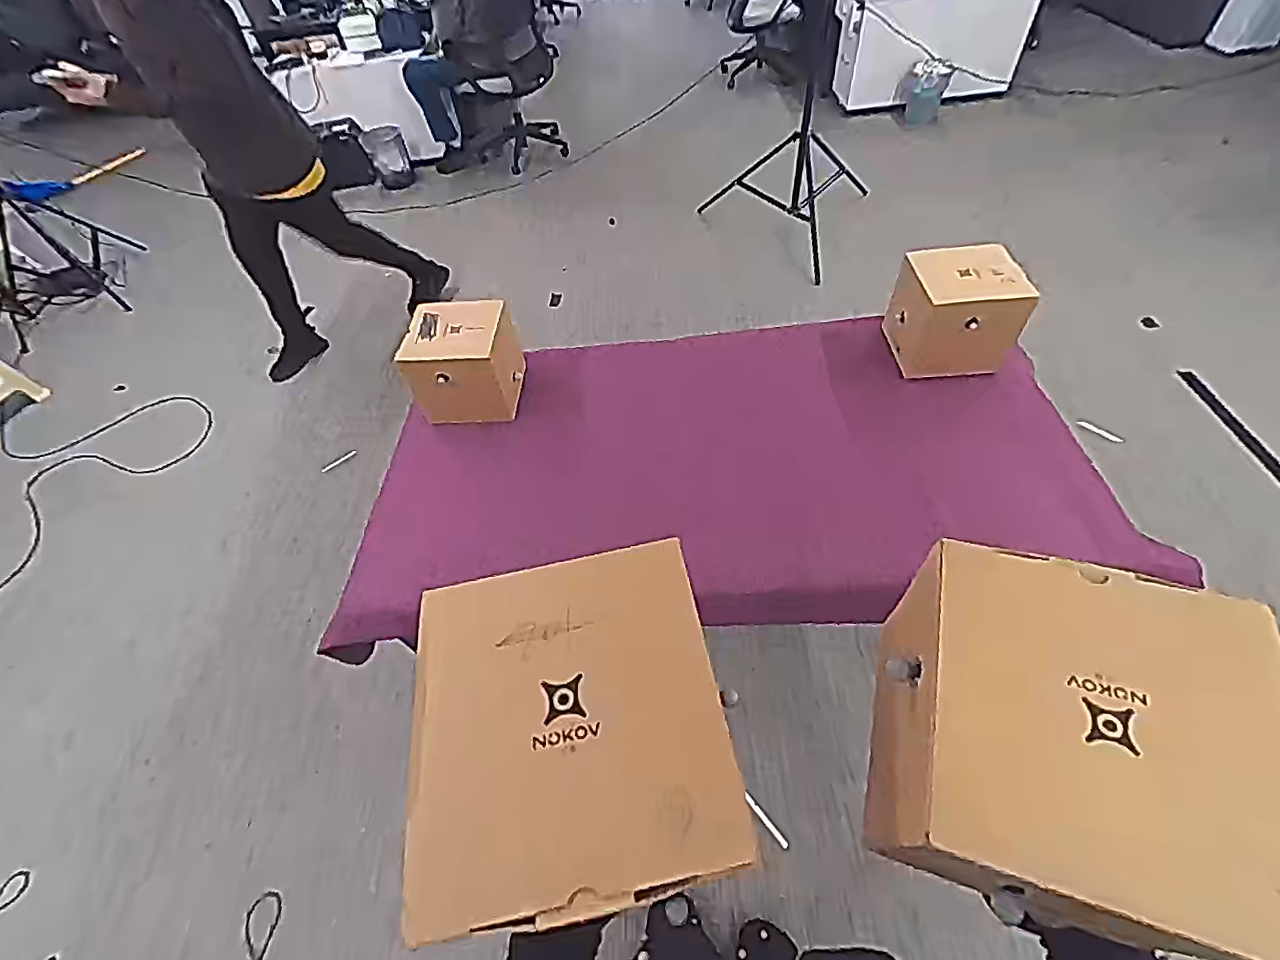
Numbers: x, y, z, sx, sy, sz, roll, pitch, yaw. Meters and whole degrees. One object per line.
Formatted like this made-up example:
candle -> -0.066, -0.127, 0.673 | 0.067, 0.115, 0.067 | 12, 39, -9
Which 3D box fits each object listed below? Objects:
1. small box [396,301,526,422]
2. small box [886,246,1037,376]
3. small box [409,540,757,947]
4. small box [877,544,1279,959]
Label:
small box -> -0.338, -0.227, 1.059 | 0.179, 0.176, 0.168 | -1, 54, 4
small box -> 0.580, -0.310, 1.011 | 0.179, 0.176, 0.168 | -3, 53, 4
small box -> -0.032, 0.169, 0.356 | 0.168, 0.176, 0.179 | -12, 53, -3
small box -> 0.255, 0.168, 0.342 | 0.168, 0.176, 0.179 | 9, 55, 16
